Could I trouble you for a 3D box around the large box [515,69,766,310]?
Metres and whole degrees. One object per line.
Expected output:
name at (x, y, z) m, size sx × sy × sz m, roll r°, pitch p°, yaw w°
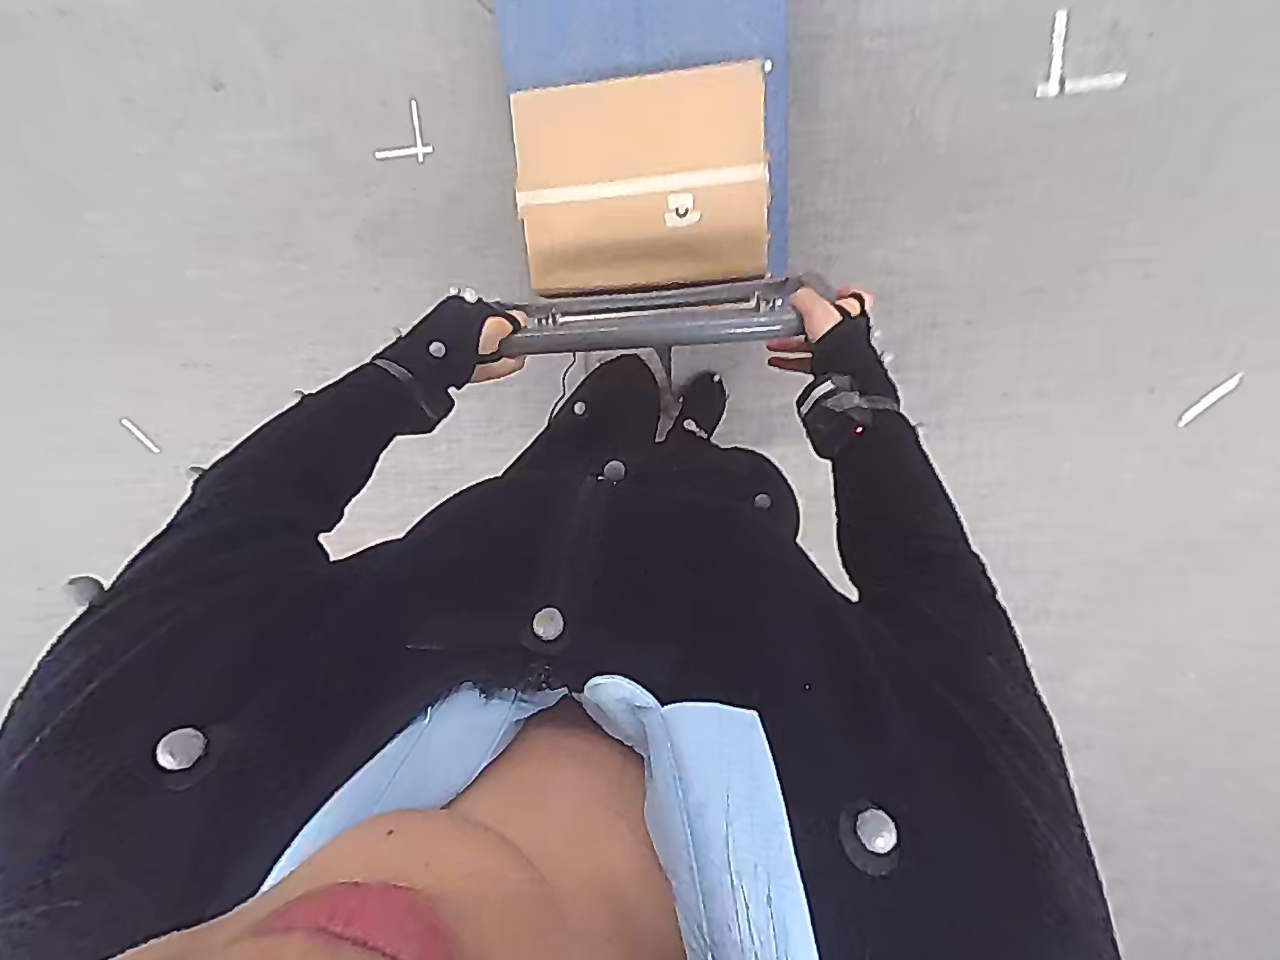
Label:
large box at (0.015, -0.515, 1.040) m, size 0.408 × 0.320 × 0.320 m, roll -3°, pitch 105°, yaw 6°
